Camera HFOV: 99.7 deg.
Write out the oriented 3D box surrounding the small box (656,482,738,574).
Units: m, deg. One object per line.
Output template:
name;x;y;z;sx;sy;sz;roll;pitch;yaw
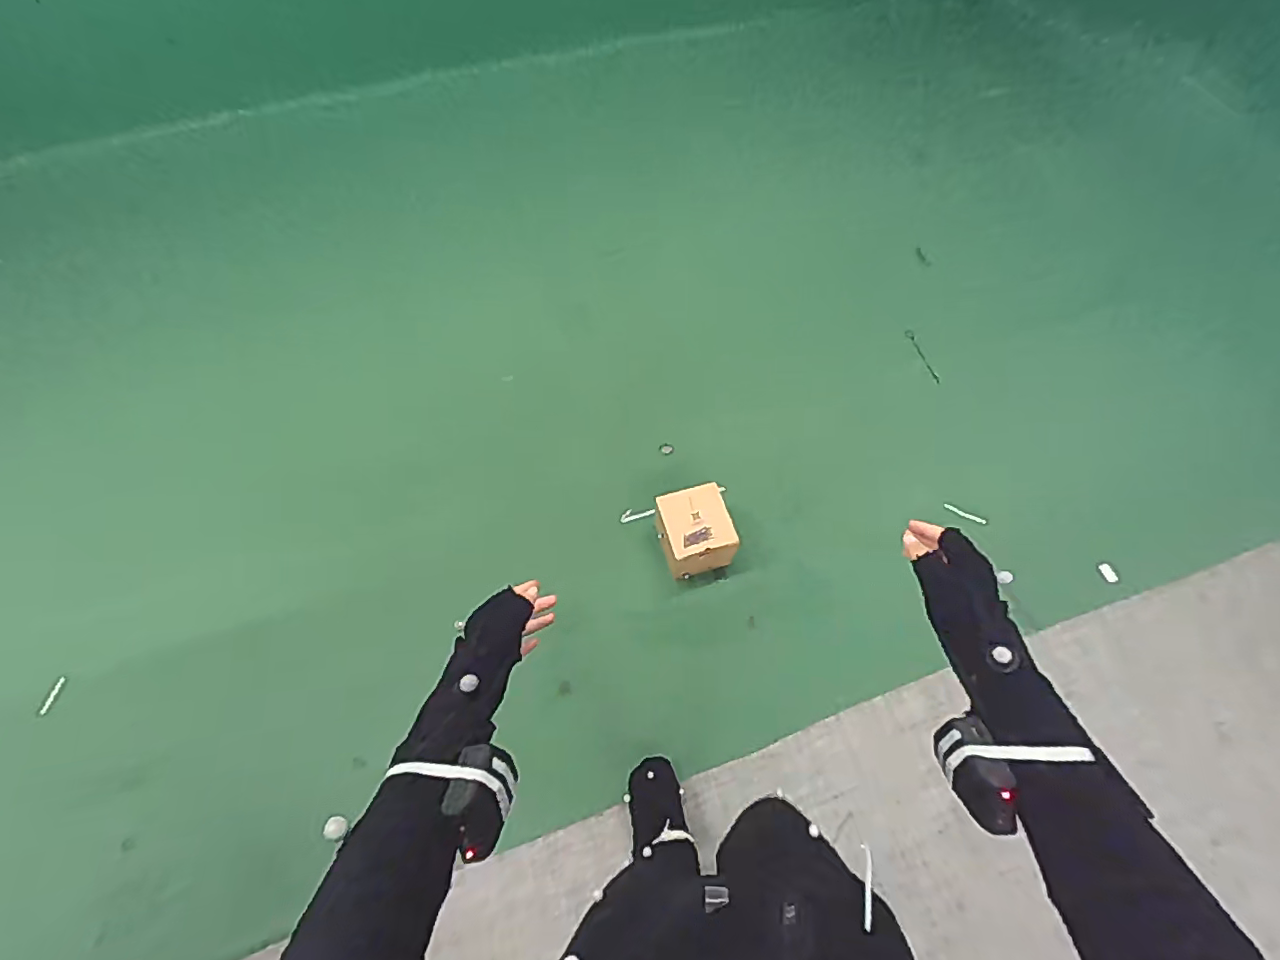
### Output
small box;0.144;0.134;1.422;0.168;0.176;0.179;-15;63;-7
